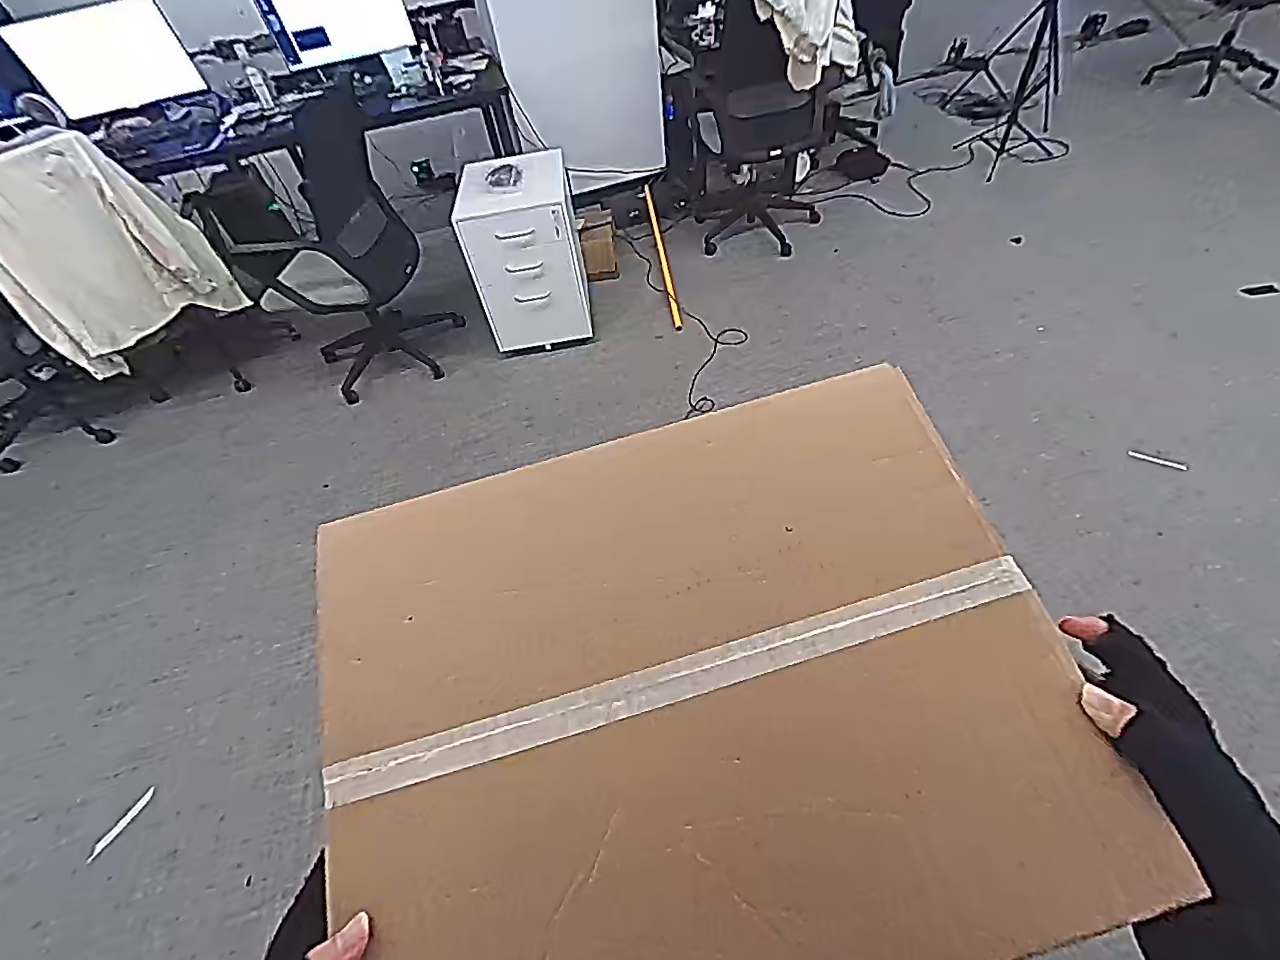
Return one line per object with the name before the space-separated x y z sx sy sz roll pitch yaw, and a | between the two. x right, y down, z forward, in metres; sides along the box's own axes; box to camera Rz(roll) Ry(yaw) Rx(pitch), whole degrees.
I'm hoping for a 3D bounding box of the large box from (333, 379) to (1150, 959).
large box | 0.036 0.176 0.451 0.408 0.320 0.320 -17 65 -2
